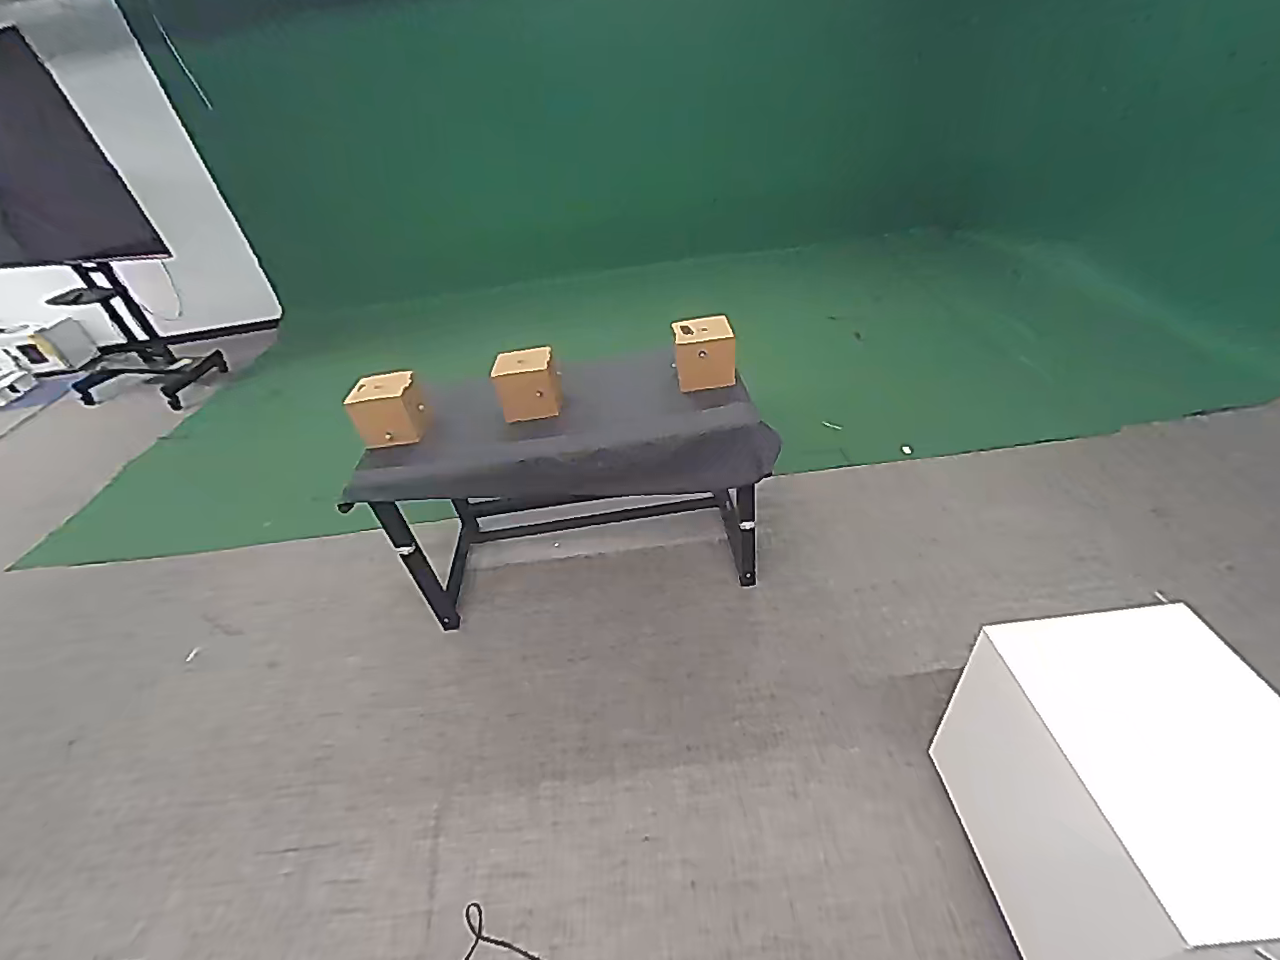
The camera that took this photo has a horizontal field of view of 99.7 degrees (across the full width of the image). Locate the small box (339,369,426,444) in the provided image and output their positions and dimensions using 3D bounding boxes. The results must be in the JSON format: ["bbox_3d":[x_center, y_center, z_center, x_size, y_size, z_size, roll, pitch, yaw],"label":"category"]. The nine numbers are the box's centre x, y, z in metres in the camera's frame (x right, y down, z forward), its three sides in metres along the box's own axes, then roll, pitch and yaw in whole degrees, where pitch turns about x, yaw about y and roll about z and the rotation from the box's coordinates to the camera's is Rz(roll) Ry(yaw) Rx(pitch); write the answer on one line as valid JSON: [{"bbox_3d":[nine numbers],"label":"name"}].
[{"bbox_3d":[-0.795,-0.229,1.693,0.179,0.176,0.168,-6,37,0],"label":"small box"}]

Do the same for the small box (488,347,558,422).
[{"bbox_3d":[-0.362,-0.301,1.718,0.179,0.176,0.168,-8,36,1],"label":"small box"}]

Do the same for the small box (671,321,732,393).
[{"bbox_3d":[0.196,-0.389,1.729,0.179,0.176,0.168,-6,38,2],"label":"small box"}]
